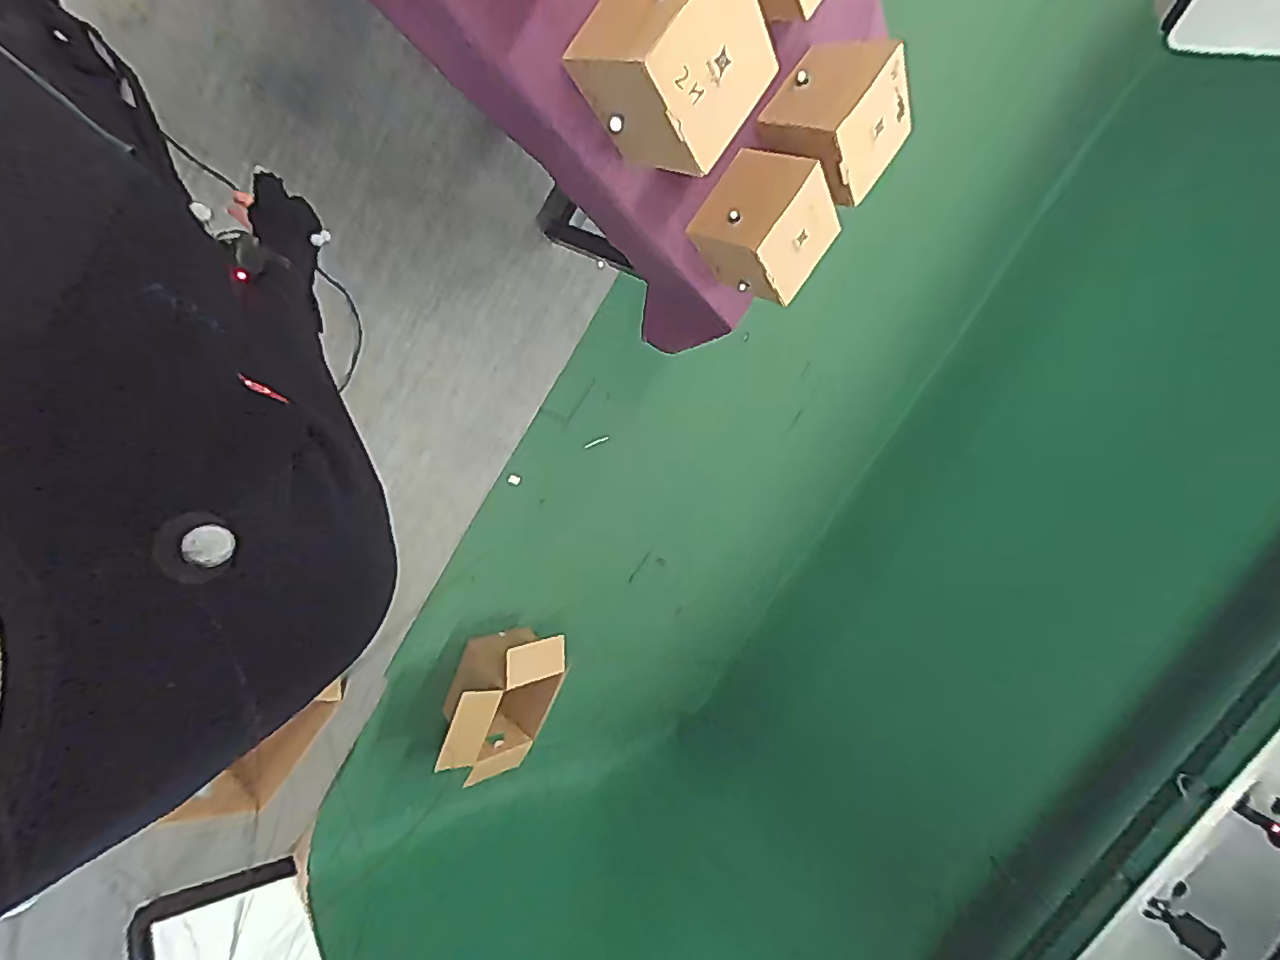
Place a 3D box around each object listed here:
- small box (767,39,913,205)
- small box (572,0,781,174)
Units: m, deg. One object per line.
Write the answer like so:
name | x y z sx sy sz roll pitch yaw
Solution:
small box | 0.344 -0.626 0.949 0.179 0.176 0.168 -53 144 2
small box | 0.045 -0.540 0.698 0.179 0.176 0.168 -54 143 2
